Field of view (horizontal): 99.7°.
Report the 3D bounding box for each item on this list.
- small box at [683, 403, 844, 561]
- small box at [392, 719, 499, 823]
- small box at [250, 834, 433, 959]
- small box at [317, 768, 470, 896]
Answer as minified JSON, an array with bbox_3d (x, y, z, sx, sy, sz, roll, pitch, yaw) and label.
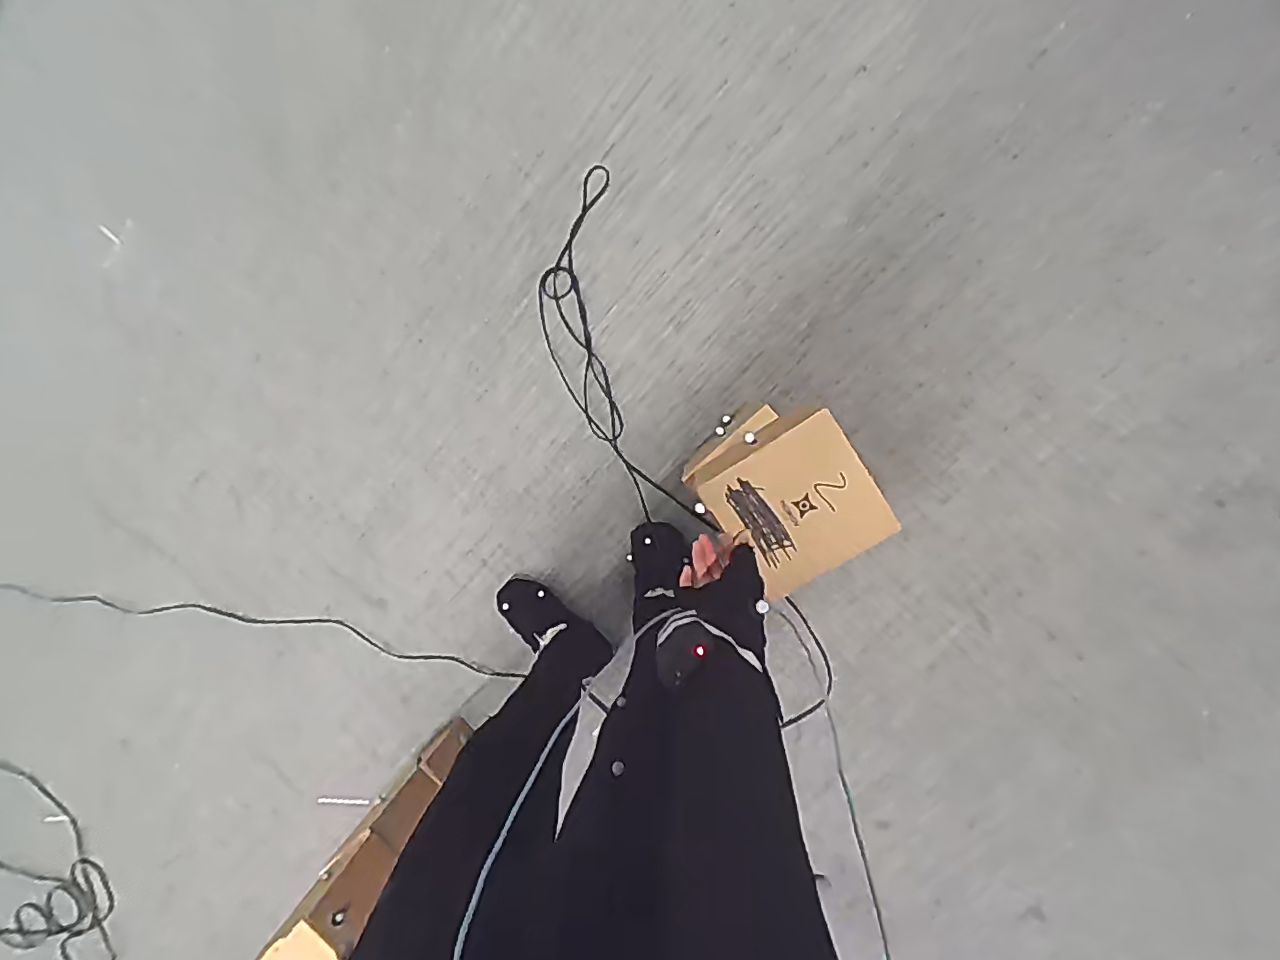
[{"bbox_3d":[0.185,-0.005,0.860,0.168,0.176,0.179,-42,93,11],"label":"small box"},{"bbox_3d":[-0.443,0.684,1.219,0.179,0.176,0.168,-44,91,12],"label":"small box"},{"bbox_3d":[-0.485,0.749,0.901,0.168,0.176,0.179,-44,91,13],"label":"small box"},{"bbox_3d":[-0.470,0.716,1.059,0.168,0.176,0.179,-43,91,12],"label":"small box"}]
